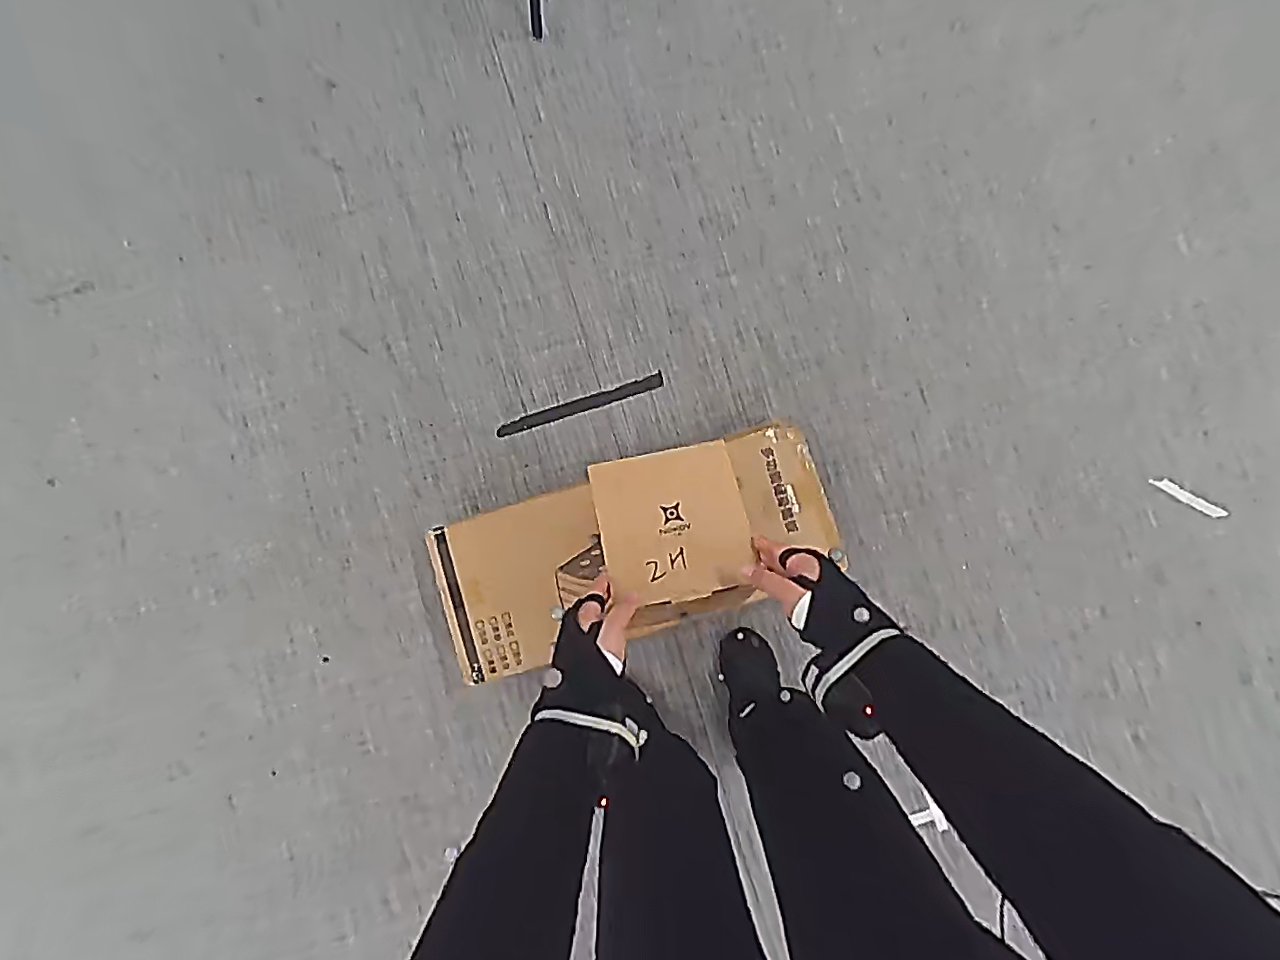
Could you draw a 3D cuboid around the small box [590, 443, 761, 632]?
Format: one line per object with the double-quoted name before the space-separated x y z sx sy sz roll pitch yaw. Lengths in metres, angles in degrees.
"small box" 0.034 0.078 0.672 0.168 0.176 0.179 -10 67 -4
